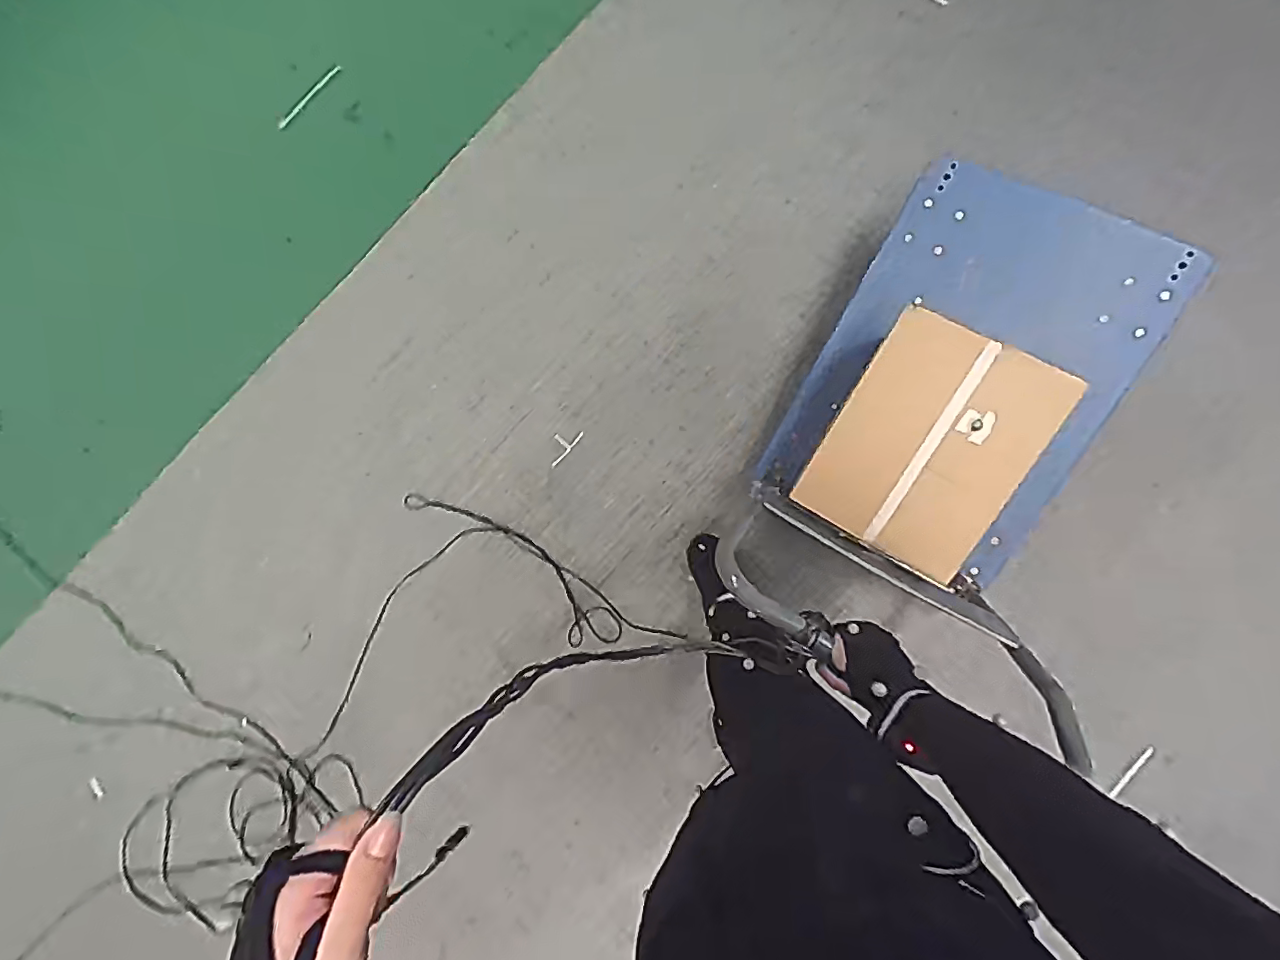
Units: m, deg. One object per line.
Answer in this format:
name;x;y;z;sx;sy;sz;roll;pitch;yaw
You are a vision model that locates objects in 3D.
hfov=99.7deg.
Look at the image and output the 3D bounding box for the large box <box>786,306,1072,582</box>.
large box;0.538;-0.068;1.100;0.320;0.320;0.408;32;101;12
